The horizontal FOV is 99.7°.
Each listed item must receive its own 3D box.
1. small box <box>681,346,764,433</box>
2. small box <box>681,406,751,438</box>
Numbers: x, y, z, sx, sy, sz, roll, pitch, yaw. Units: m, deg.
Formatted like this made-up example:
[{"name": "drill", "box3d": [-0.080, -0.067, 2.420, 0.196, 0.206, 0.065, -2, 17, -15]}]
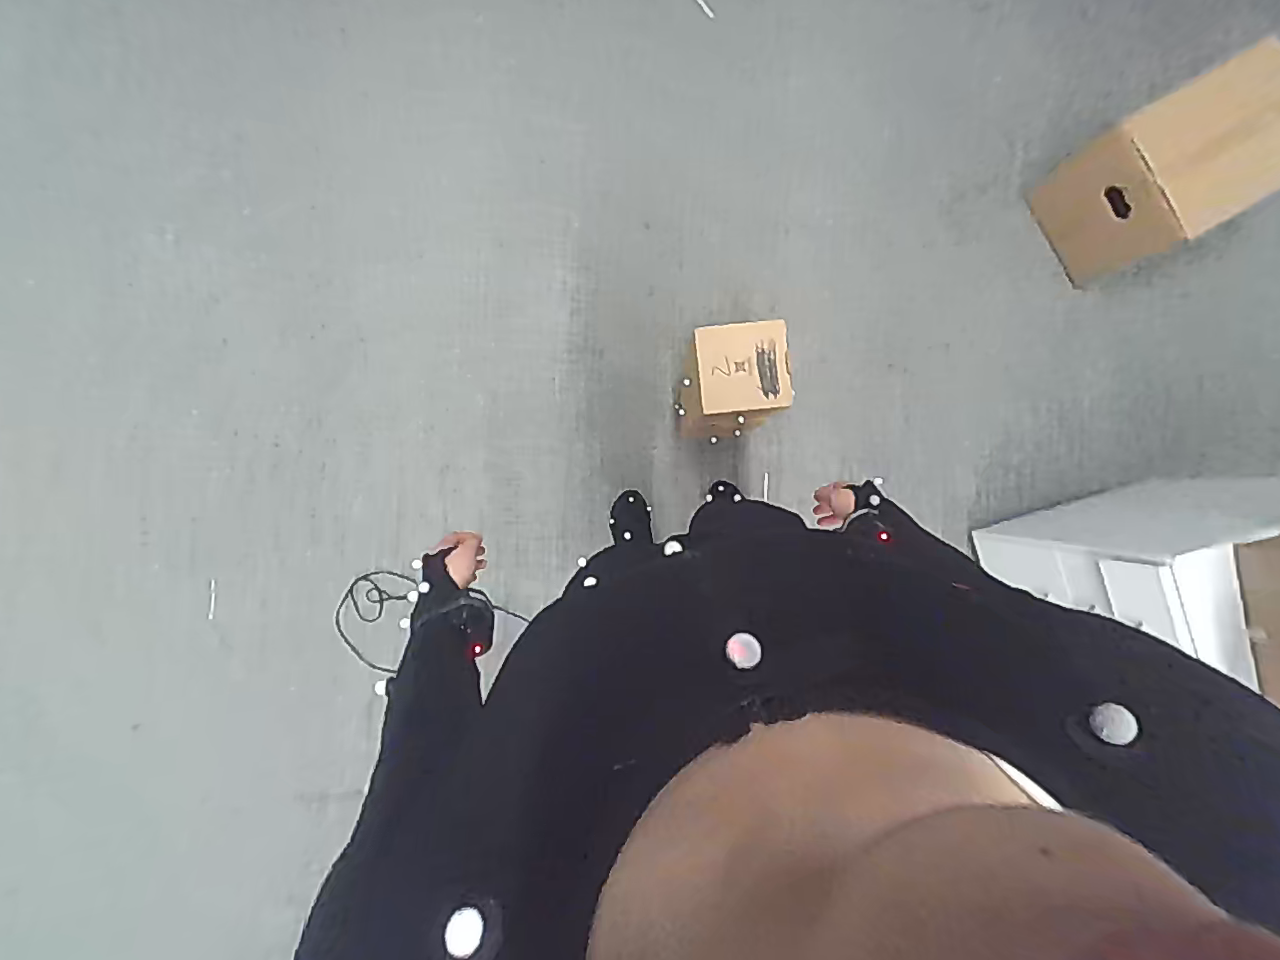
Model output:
[{"name": "small box", "box3d": [0.187, -0.204, 1.266, 0.168, 0.176, 0.179, -3, 88, -2]}, {"name": "small box", "box3d": [0.197, -0.203, 1.429, 0.168, 0.176, 0.179, 0, 89, -1]}]
